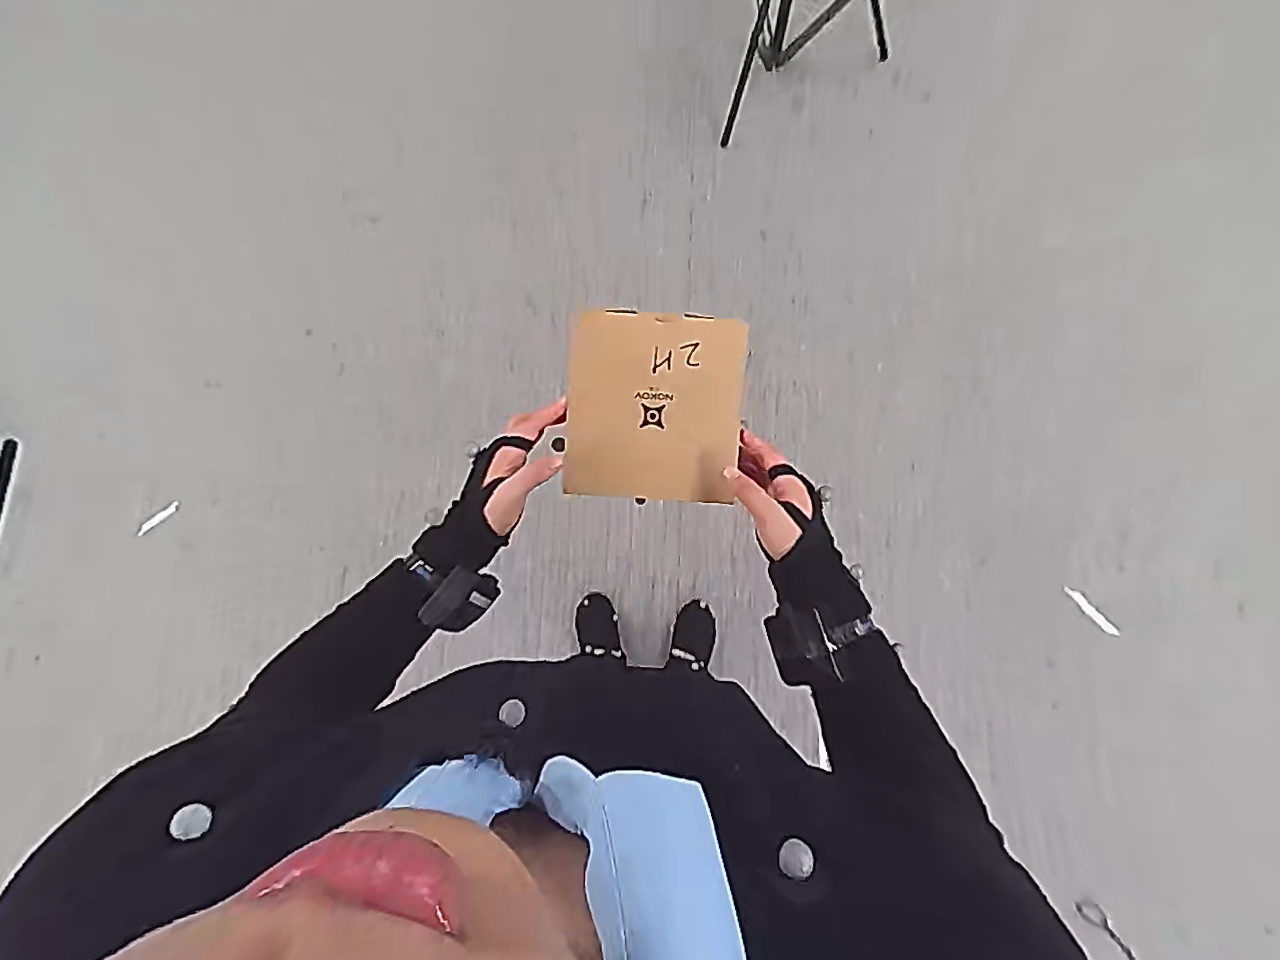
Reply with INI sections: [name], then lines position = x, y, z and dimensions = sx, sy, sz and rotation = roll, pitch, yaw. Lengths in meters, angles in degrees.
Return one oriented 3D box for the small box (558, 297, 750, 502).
[small box]
position = 0.012, -0.078, 0.566
dimensions = 0.168, 0.176, 0.179
rotation = 3, 94, -1
